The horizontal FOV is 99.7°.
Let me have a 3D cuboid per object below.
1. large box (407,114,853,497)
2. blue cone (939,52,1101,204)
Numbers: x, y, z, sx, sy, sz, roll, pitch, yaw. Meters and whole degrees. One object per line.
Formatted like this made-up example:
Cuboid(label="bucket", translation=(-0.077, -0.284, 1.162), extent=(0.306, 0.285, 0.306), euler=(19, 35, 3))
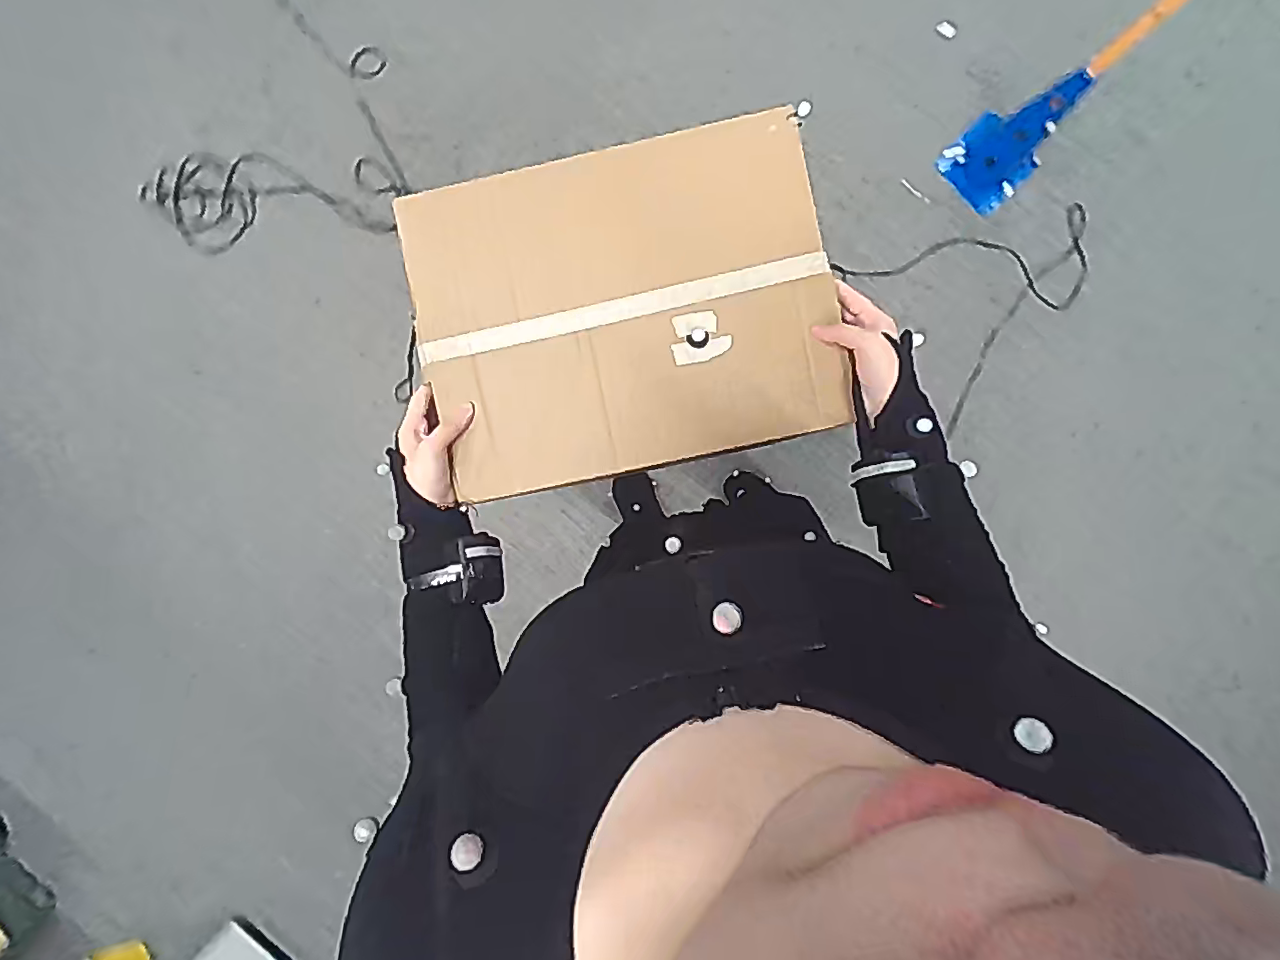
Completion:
Cuboid(label="large box", translation=(-0.010, -0.172, 0.685), extent=(0.408, 0.320, 0.320), euler=(-11, 91, 1))
Cuboid(label="blue cone", translation=(0.900, -0.838, 1.262), extent=(0.192, 0.380, 0.193), euler=(-44, 90, 3))
